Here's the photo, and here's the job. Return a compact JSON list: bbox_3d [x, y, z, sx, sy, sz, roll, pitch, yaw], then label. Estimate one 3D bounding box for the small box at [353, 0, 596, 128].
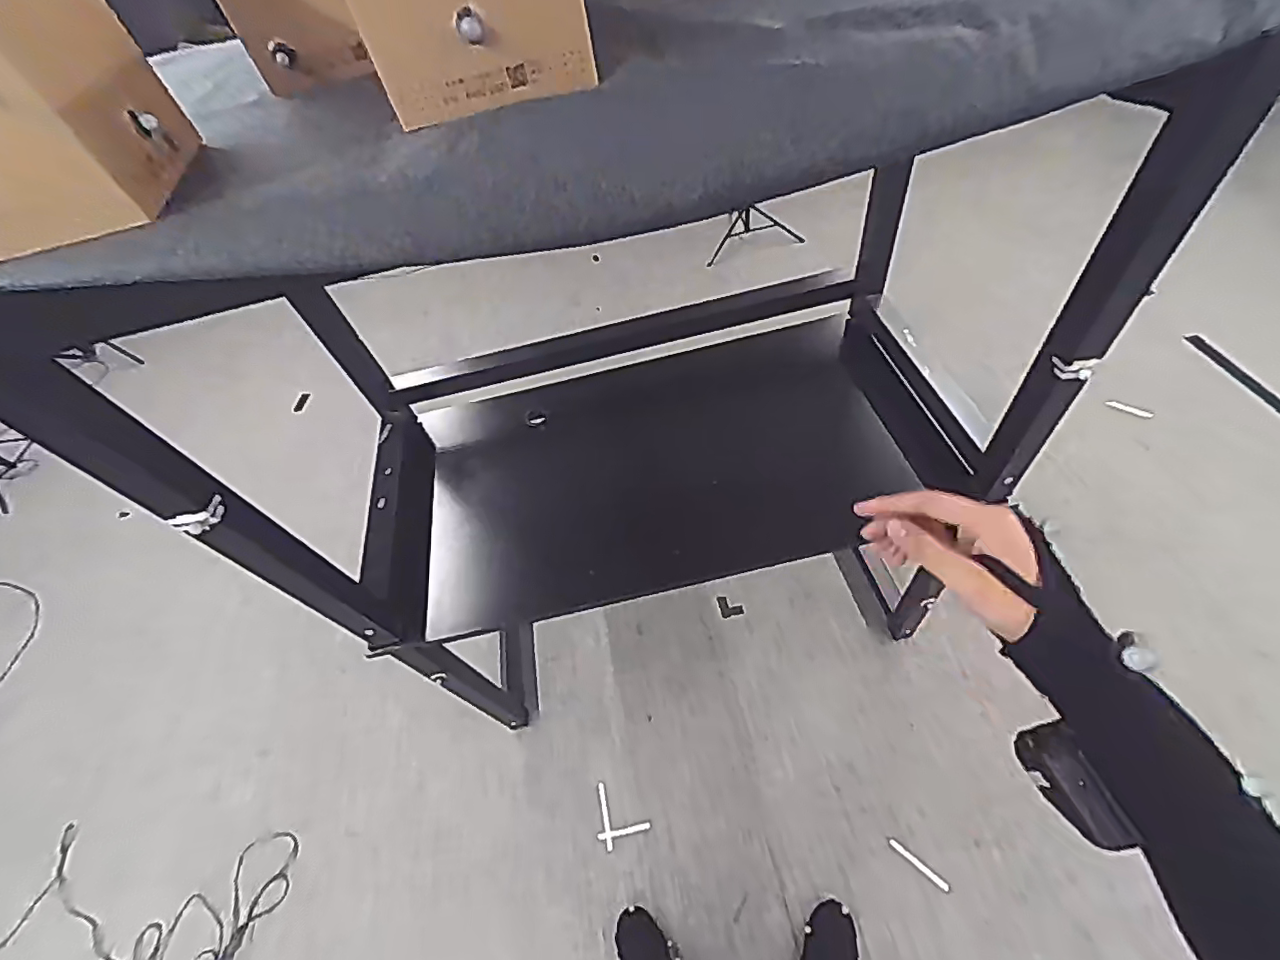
[{"bbox_3d":[-0.136,-0.413,0.430,0.168,0.176,0.179,-12,52,4],"label":"small box"}]
